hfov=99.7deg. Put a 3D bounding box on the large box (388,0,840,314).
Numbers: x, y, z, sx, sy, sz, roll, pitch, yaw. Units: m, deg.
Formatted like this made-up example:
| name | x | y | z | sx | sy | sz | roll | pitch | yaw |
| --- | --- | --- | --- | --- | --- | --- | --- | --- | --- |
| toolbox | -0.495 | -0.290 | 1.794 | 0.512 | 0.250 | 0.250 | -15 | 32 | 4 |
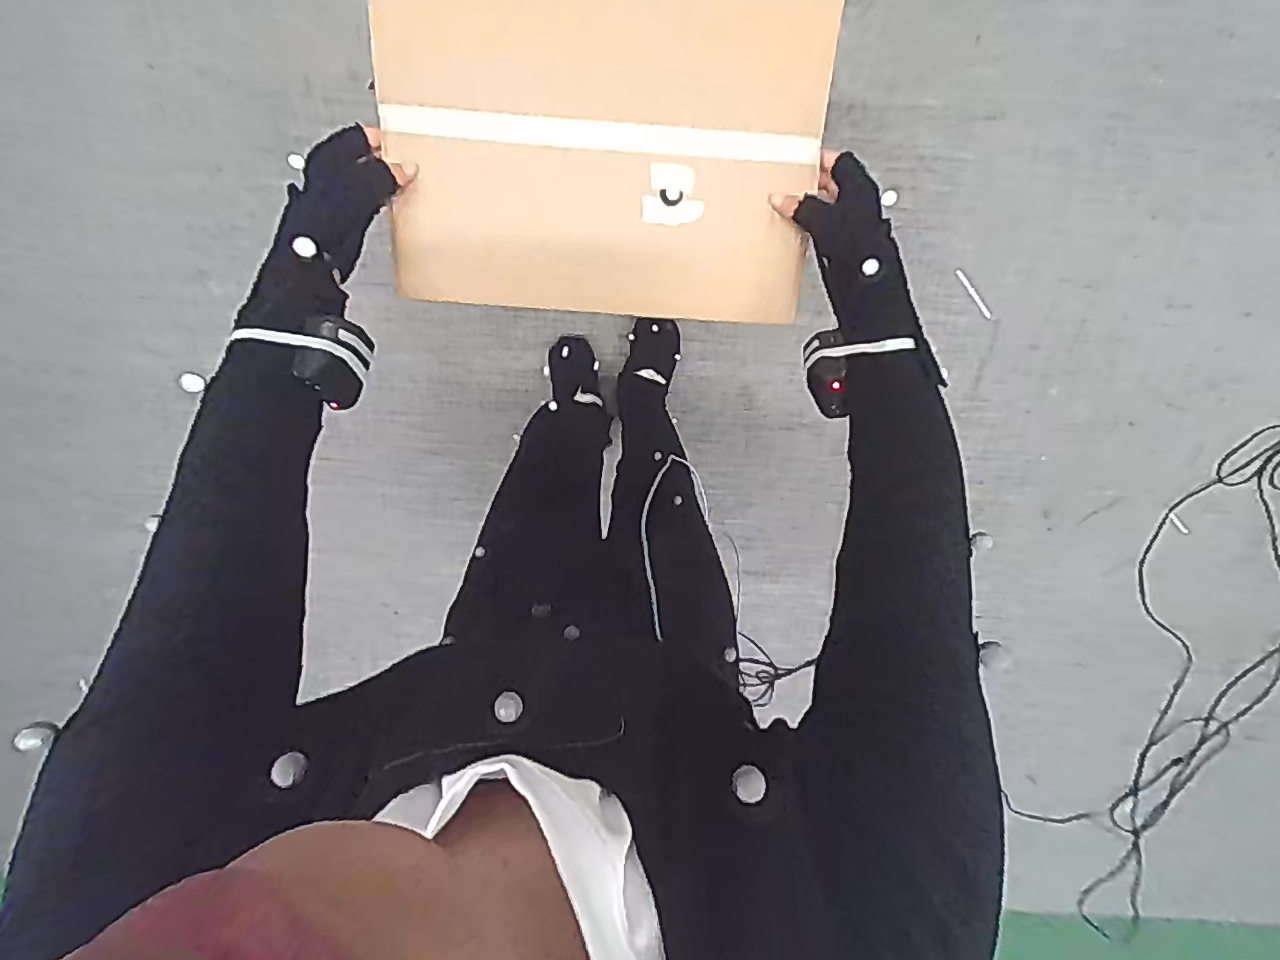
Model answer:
| name | x | y | z | sx | sy | sz | roll | pitch | yaw |
| --- | --- | --- | --- | --- | --- | --- | --- | --- | --- |
| large box | -0.034 | -0.380 | 0.649 | 0.408 | 0.320 | 0.320 | 3 | 111 | -3 |
